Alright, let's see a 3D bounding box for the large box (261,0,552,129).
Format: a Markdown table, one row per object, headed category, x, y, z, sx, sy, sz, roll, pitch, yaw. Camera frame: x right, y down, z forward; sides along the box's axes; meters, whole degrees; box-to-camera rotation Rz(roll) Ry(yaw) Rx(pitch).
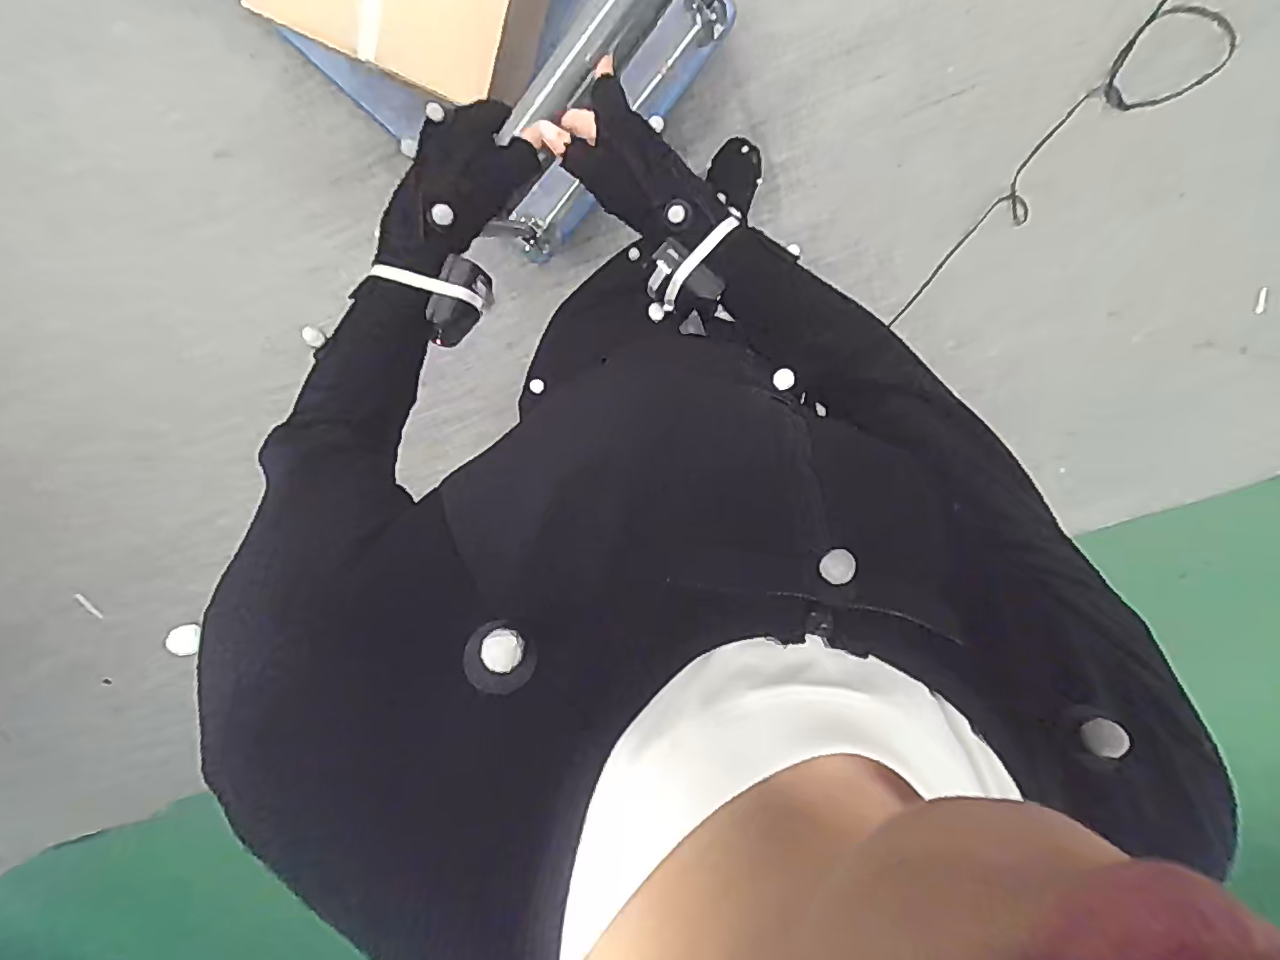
| category | x | y | z | sx | sy | sz | roll | pitch | yaw |
| --- | --- | --- | --- | --- | --- | --- | --- | --- | --- |
| large box | -0.284 | -0.796 | 0.771 | 0.320 | 0.320 | 0.408 | 19 | 116 | -12 |
